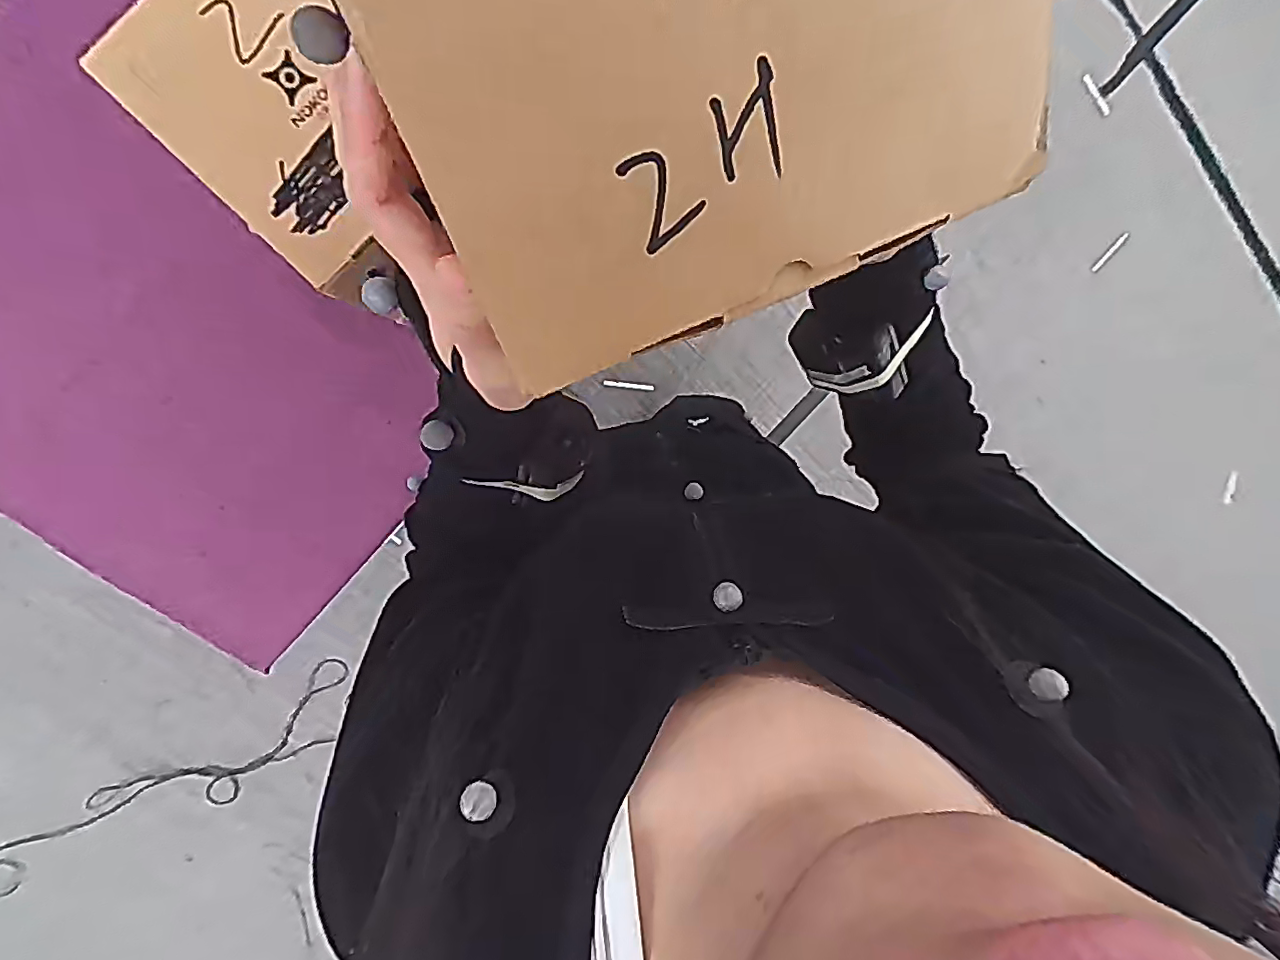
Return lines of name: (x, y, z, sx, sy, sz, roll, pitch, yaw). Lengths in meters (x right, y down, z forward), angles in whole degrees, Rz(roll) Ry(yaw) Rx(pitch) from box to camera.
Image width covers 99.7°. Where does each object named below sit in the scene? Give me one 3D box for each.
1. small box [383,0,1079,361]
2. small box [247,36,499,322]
small box: (0.002, -0.165, 0.182, 0.168, 0.176, 0.179, -23, 120, -4)
small box: (-0.242, -0.287, 0.567, 0.168, 0.176, 0.179, -45, 105, 1)
